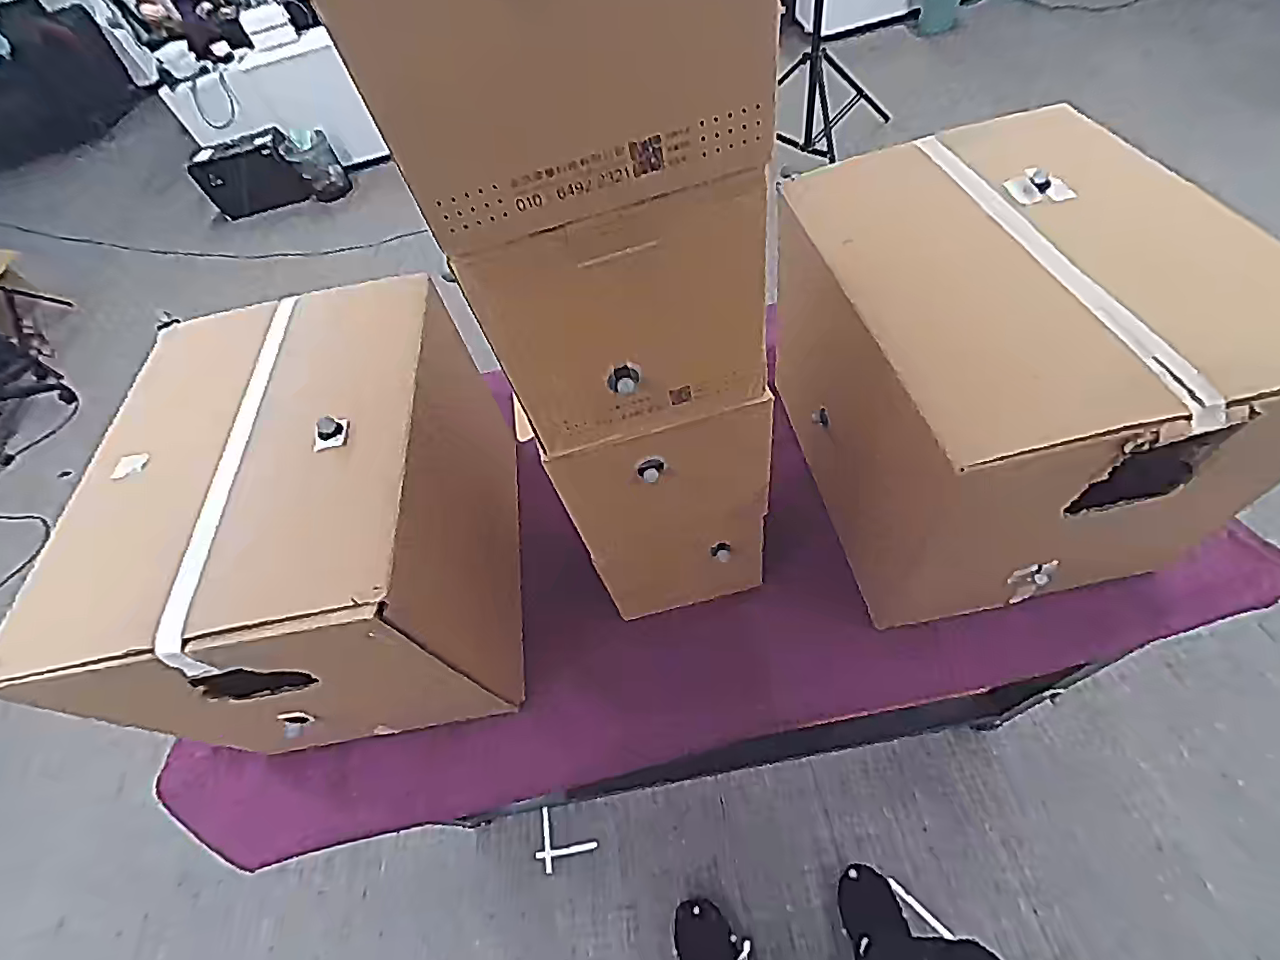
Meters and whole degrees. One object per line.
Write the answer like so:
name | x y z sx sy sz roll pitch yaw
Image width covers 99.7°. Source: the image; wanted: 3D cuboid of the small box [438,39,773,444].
small box | -0.021 -0.155 0.369 0.168 0.176 0.179 -17 55 0

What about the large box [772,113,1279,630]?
large box | 0.351 -0.109 0.577 0.320 0.320 0.408 -13 53 3
